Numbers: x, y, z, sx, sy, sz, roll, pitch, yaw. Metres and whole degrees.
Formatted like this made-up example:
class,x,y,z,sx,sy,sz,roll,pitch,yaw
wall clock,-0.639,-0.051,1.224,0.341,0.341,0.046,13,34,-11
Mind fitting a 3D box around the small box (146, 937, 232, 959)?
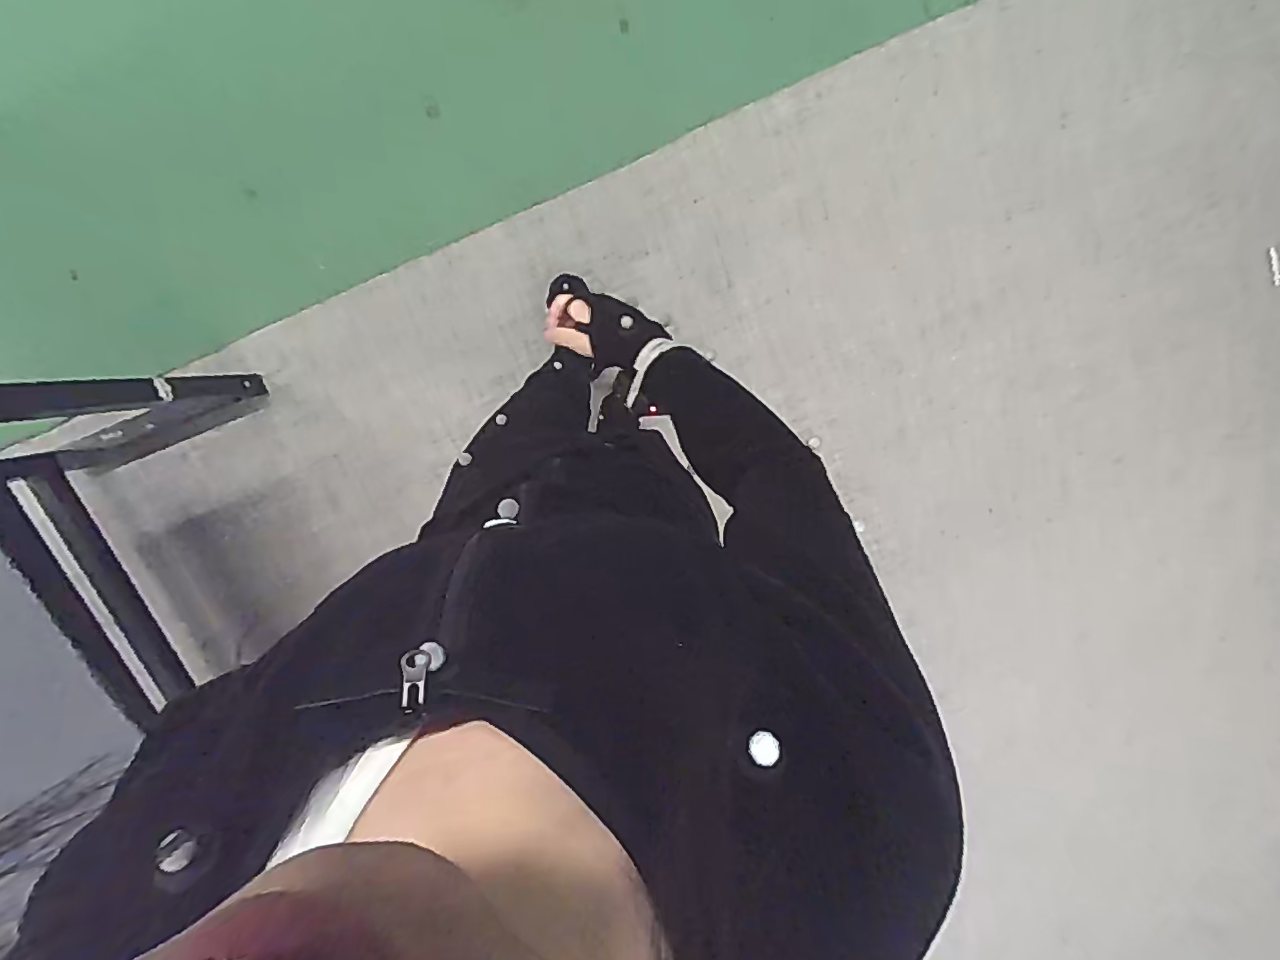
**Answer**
class,x,y,z,sx,sy,sz,roll,pitch,yaw
small box,-0.747,0.865,0.829,0.179,0.176,0.168,-23,102,3
